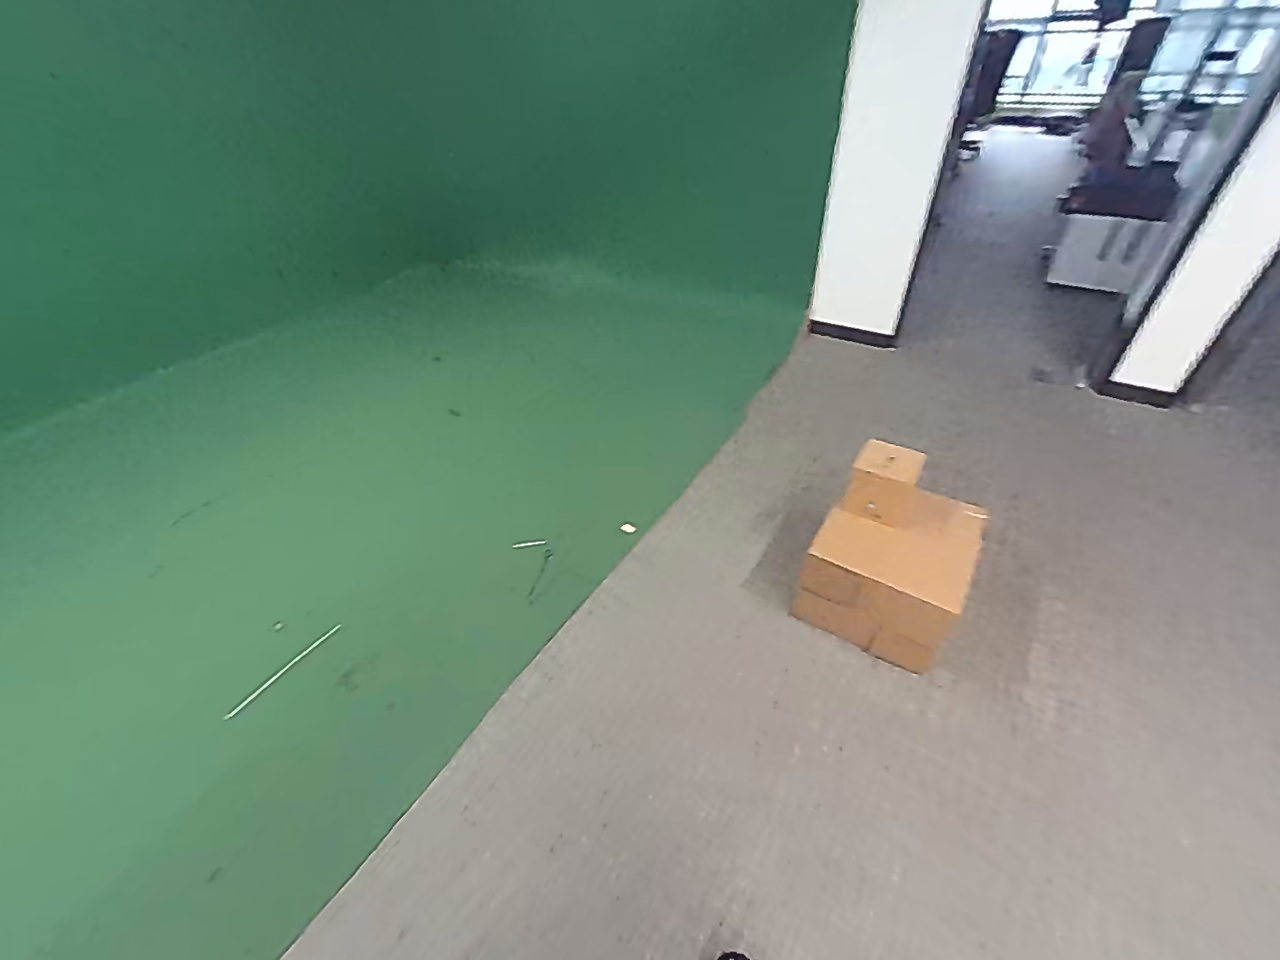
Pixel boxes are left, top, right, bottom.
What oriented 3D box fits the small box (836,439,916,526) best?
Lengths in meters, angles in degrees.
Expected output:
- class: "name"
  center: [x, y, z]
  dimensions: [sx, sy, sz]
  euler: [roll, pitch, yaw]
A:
- class: "small box"
  center: [0.712, 0.007, 1.643]
  dimensions: [0.168, 0.176, 0.179]
  euler: [21, 44, 27]
